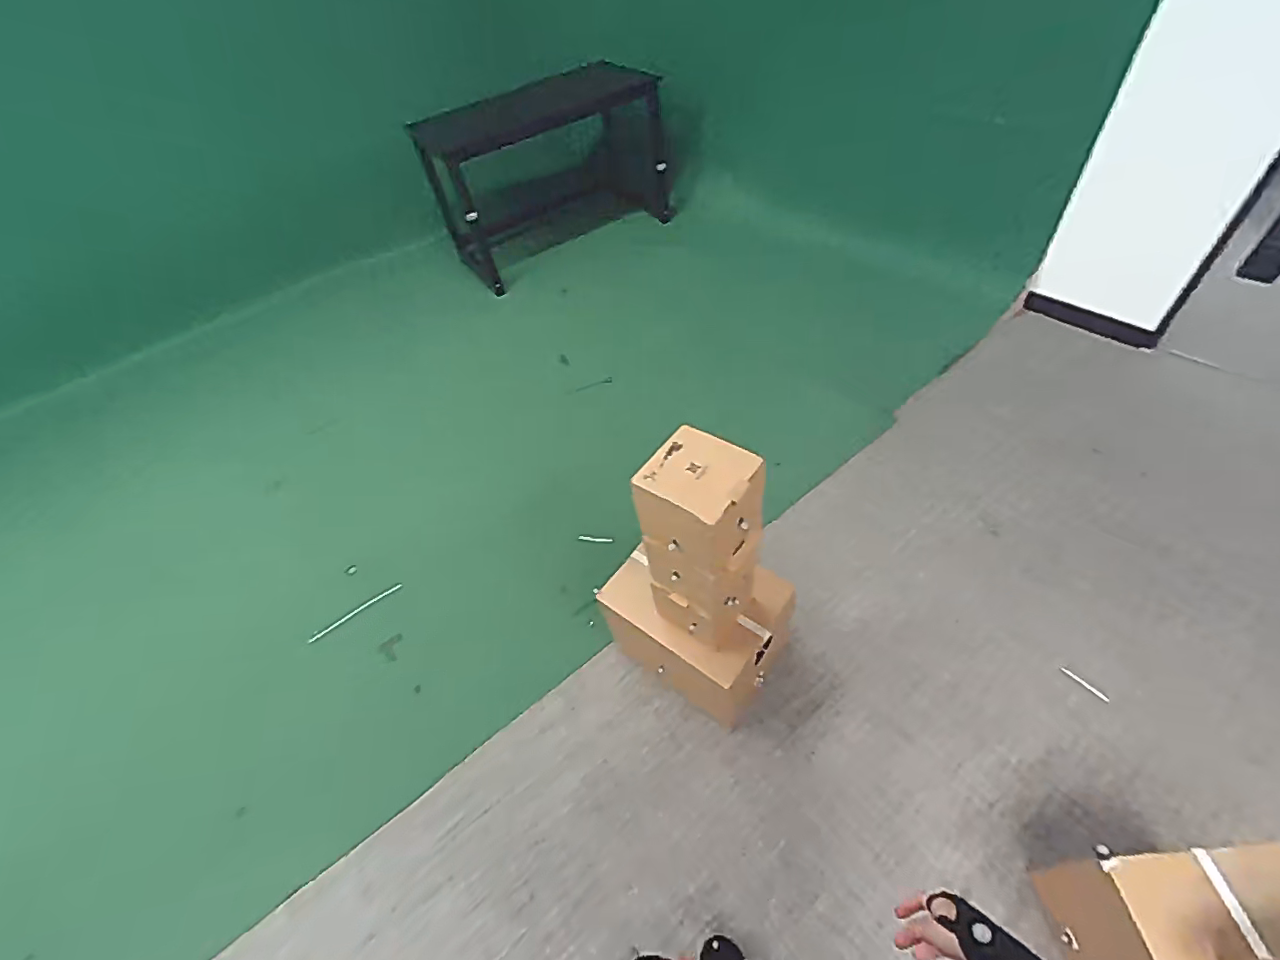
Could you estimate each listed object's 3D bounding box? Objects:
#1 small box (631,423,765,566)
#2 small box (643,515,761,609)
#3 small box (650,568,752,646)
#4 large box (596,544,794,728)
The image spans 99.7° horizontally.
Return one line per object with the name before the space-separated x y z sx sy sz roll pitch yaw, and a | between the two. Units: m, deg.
small box | 0.109 0.033 0.995 0.179 0.176 0.168 29 60 28
small box | 0.131 0.141 1.117 0.179 0.176 0.168 27 59 29
small box | 0.148 0.247 1.241 0.168 0.176 0.179 29 60 29
large box | 0.156 0.379 1.450 0.408 0.320 0.320 27 58 30
